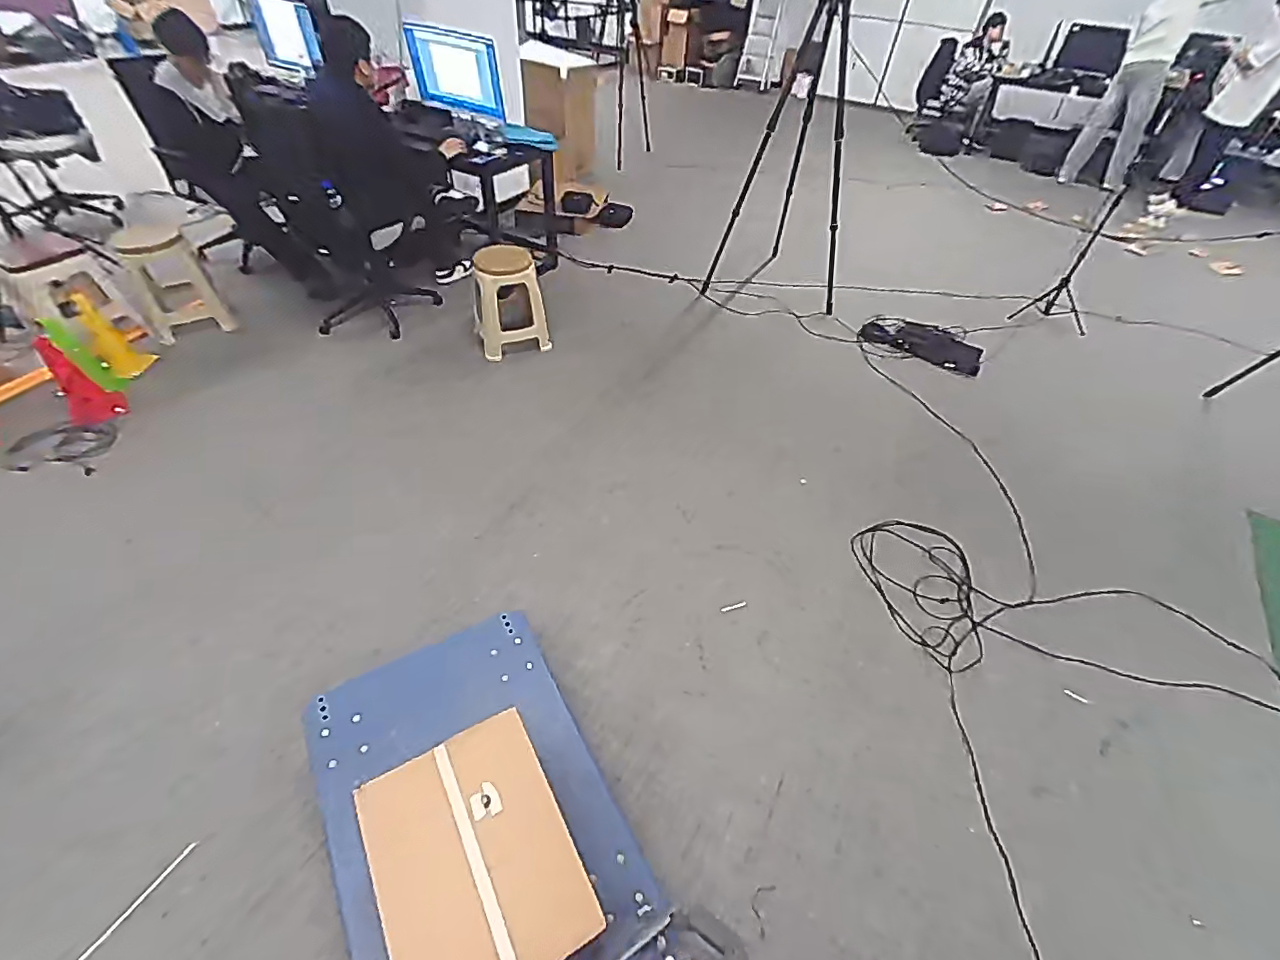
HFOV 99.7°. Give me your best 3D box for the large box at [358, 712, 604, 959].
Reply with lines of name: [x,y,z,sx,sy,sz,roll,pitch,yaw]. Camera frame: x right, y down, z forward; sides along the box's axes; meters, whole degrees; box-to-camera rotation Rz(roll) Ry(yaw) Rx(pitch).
large box: [-0.298,0.755,1.056,0.320,0.320,0.408,-21,53,-23]
